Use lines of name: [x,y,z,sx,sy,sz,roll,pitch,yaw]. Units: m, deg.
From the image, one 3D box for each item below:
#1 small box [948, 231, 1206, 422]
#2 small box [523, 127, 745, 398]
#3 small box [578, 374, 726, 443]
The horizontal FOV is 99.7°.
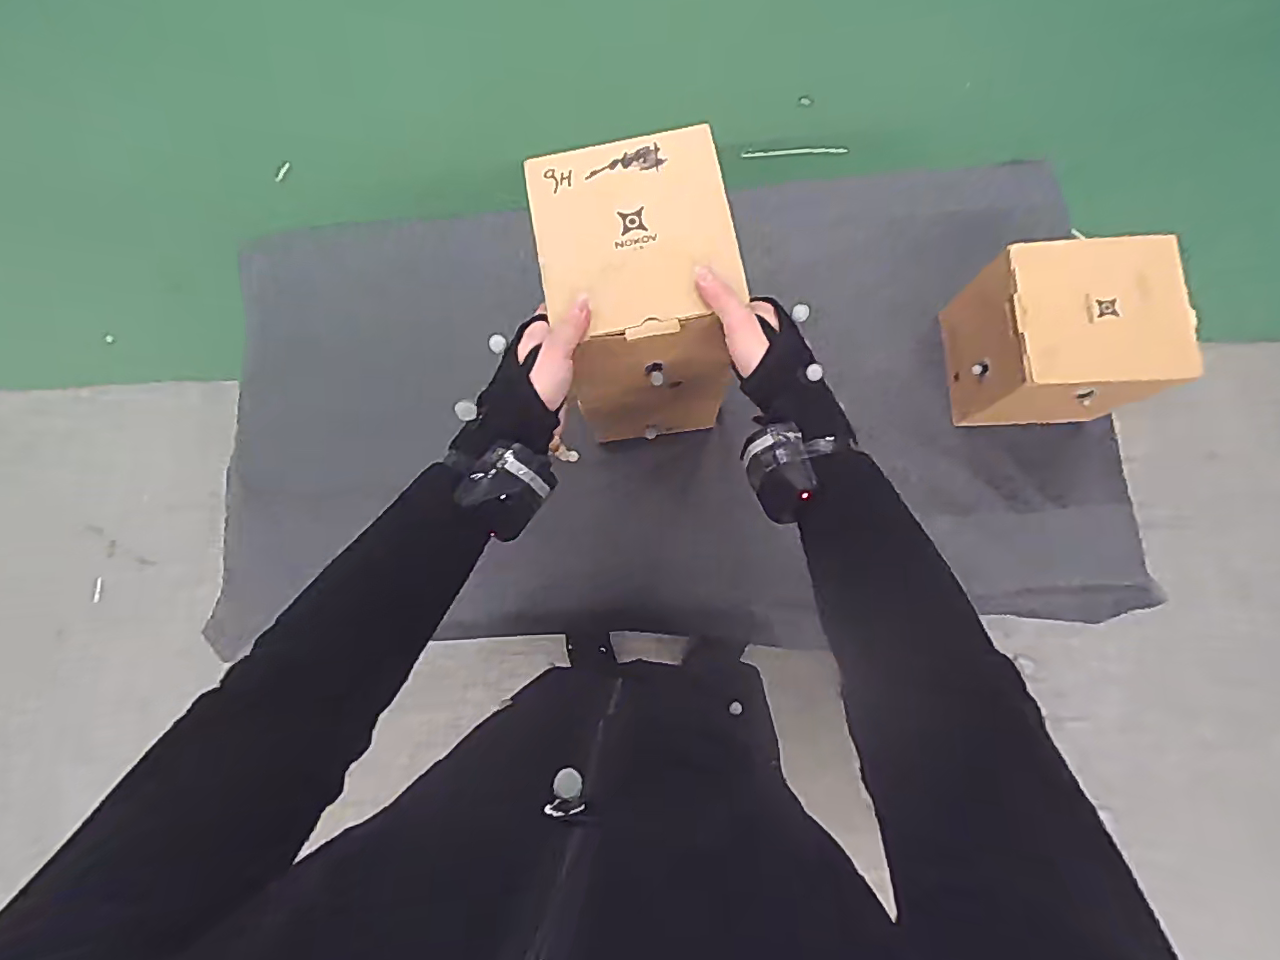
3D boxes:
small box: [0.499,-0.171,0.654,0.179,0.176,0.168,-2,80,3]
small box: [-0.002,-0.190,0.529,0.168,0.176,0.179,-11,80,2]
small box: [0.009,-0.159,0.688,0.168,0.176,0.179,-8,80,3]
